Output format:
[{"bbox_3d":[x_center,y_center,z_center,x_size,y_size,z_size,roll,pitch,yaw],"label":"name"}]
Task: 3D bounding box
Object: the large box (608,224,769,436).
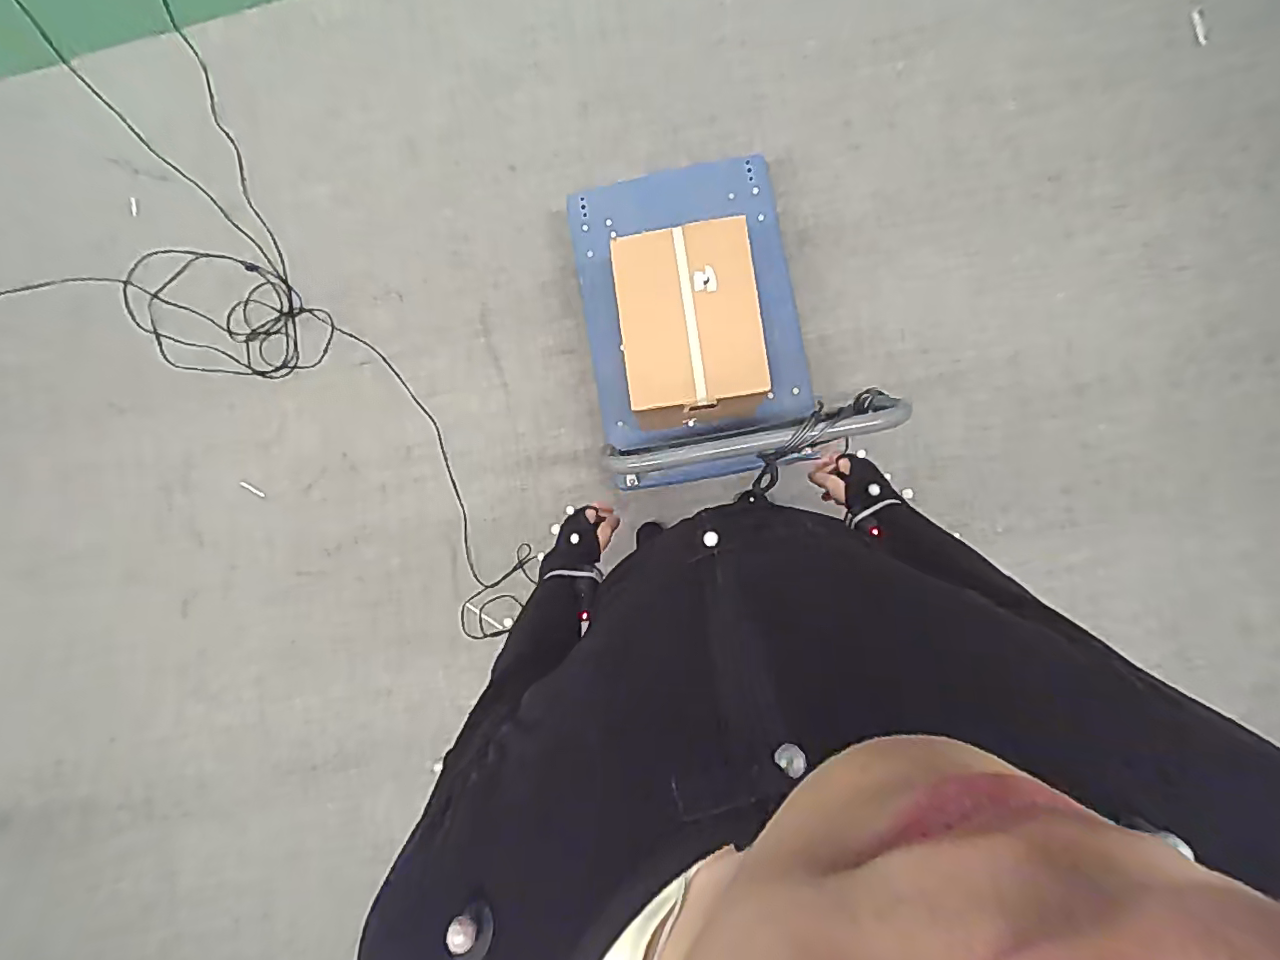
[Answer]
[{"bbox_3d":[0.119,-0.351,1.361,0.320,0.320,0.408,-8,85,4],"label":"large box"}]
